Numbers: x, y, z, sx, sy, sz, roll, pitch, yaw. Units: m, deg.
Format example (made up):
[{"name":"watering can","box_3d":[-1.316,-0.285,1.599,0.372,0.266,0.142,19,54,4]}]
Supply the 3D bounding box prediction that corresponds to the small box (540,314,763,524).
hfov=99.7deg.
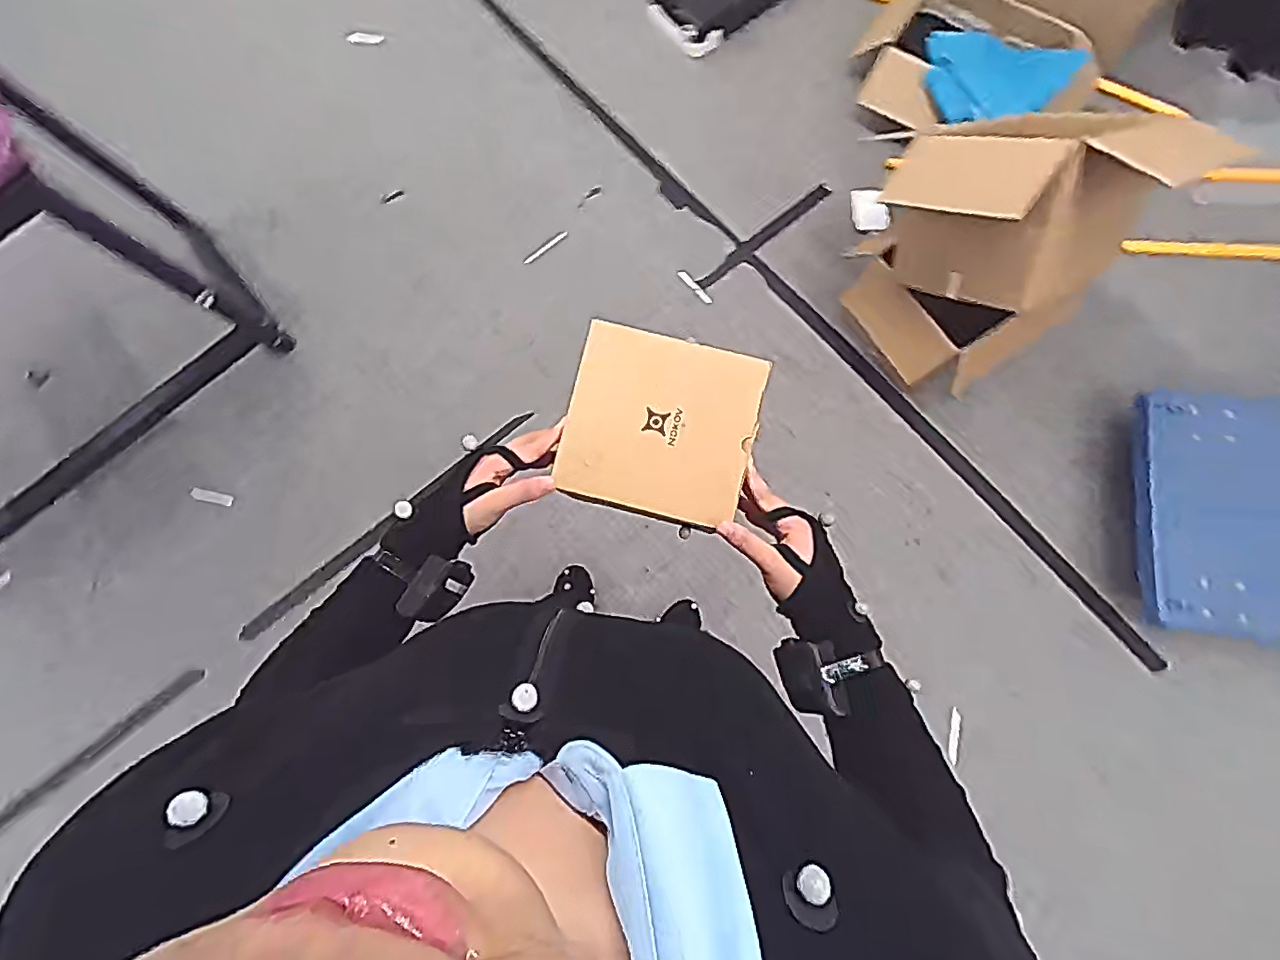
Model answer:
[{"name":"small box","box_3d":[0.012,-0.050,0.574,0.179,0.176,0.168,14,85,1]}]
